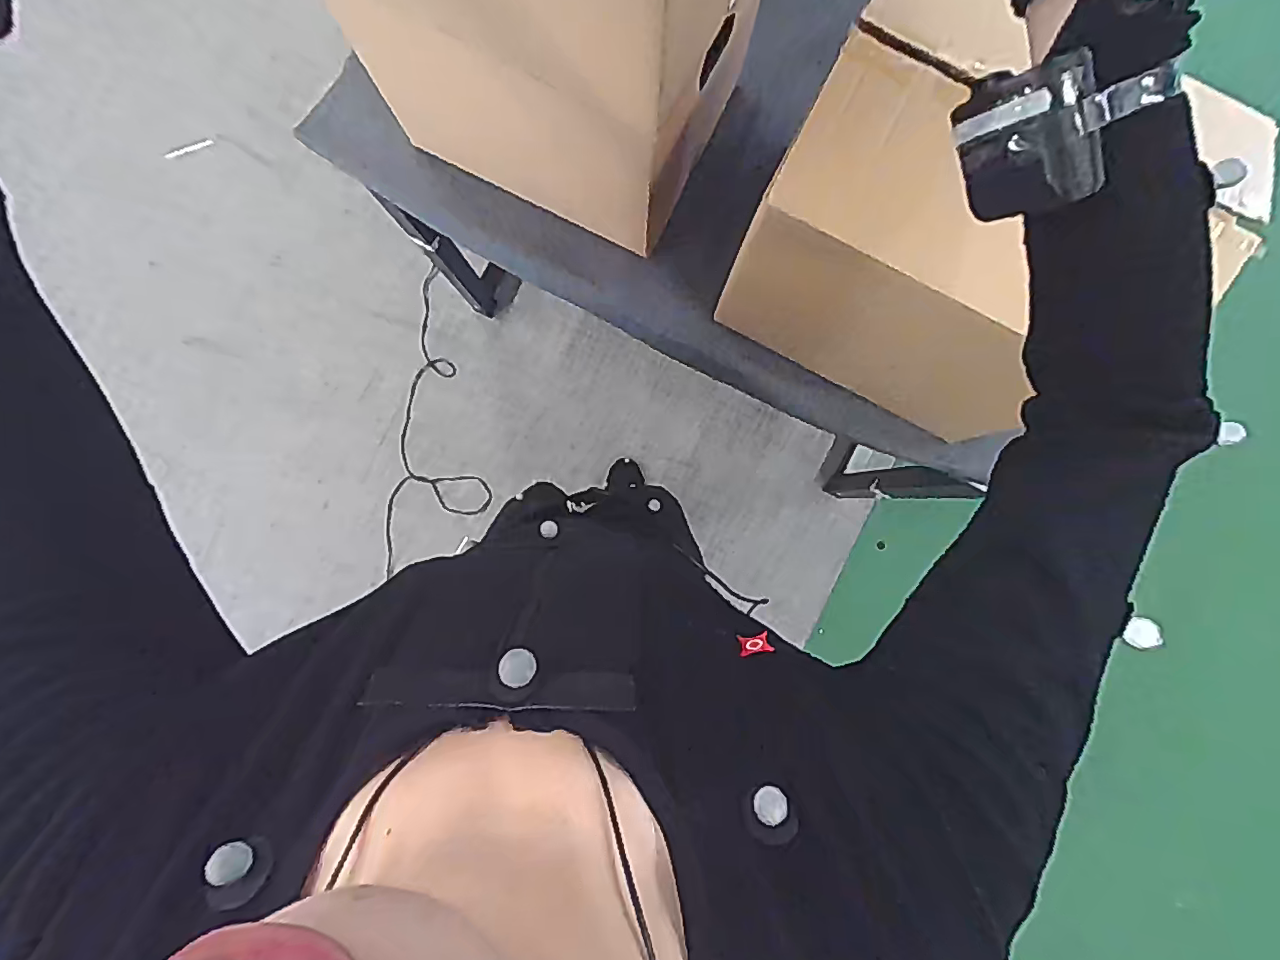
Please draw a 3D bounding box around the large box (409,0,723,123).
[{"bbox_3d":[-0.087,-0.554,0.361,0.408,0.320,0.320,27,89,-2],"label":"large box"}]
